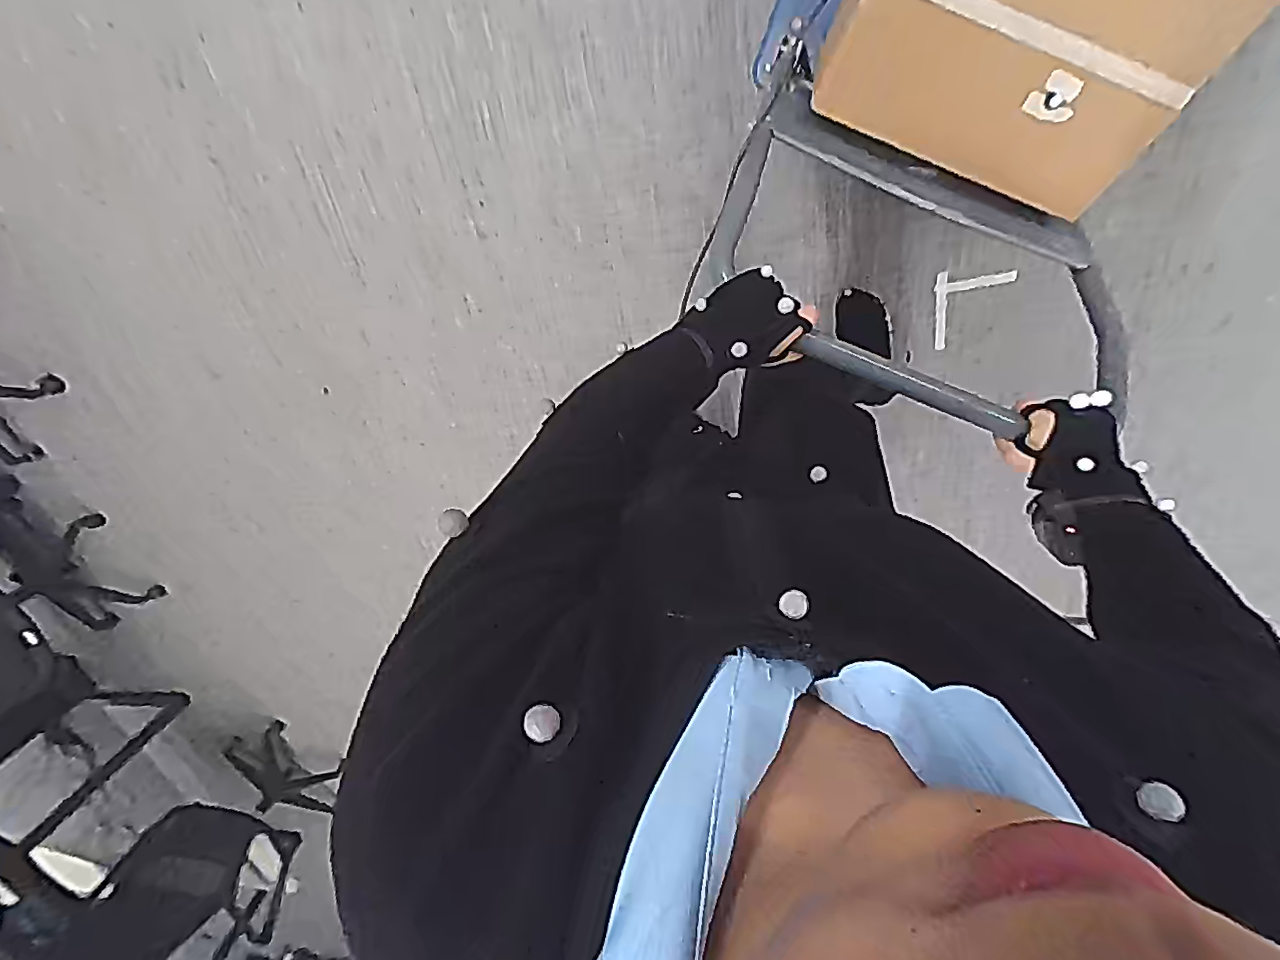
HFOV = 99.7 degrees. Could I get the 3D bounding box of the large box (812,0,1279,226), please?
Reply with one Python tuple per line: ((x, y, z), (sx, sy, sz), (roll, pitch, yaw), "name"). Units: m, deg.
((0.488, -0.619, 0.721), (0.408, 0.320, 0.320), (21, 142, -4), "large box")
